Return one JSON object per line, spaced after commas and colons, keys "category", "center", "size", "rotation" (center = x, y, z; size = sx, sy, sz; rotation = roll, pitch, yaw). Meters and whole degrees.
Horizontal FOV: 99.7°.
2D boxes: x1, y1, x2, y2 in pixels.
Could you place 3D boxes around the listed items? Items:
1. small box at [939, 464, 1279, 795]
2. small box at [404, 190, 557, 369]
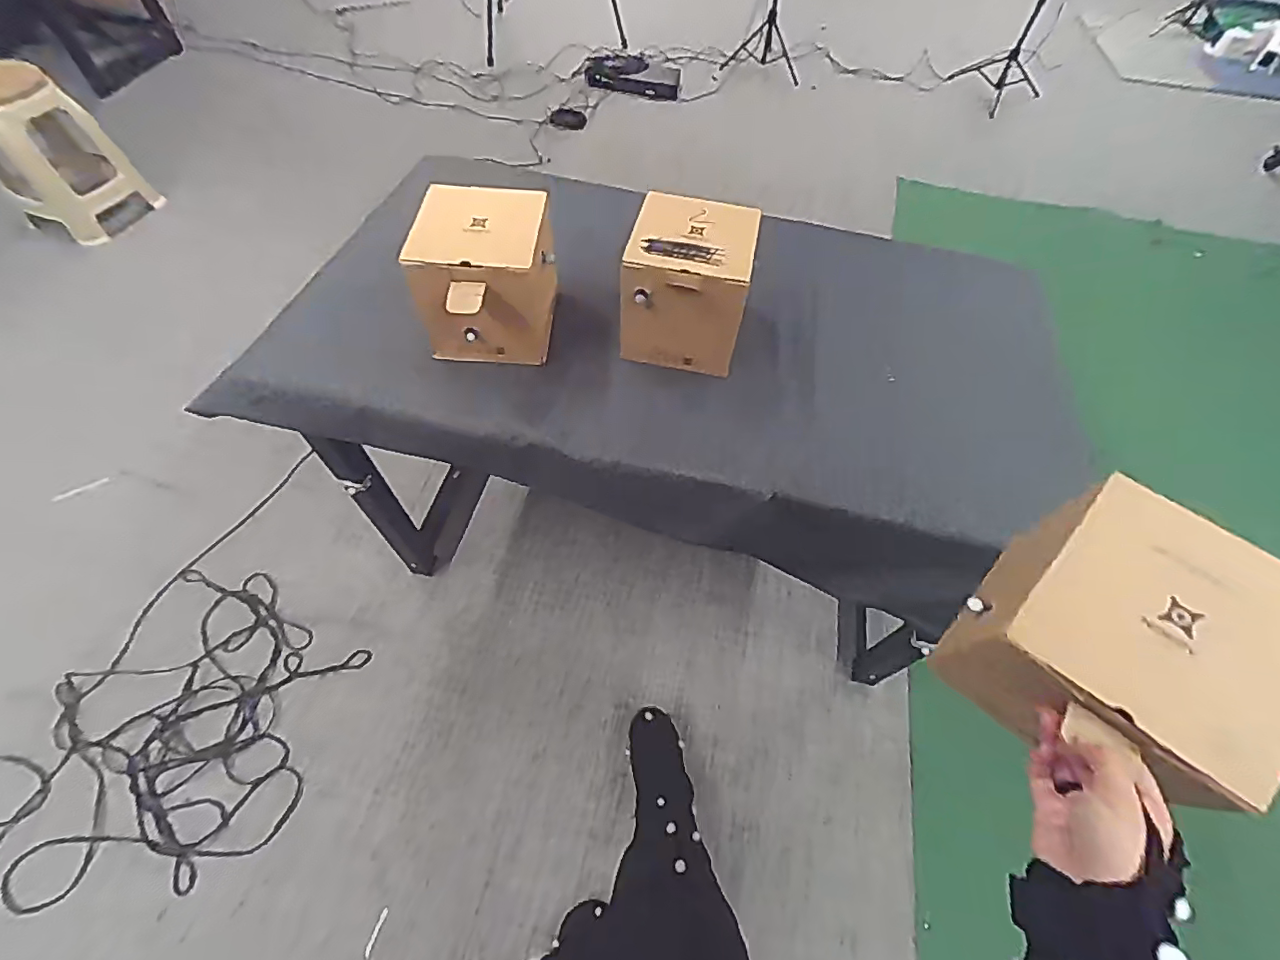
{"category": "small box", "center": [0.387, 0.127, 0.455], "size": [0.168, 0.176, 0.179], "rotation": [38, 73, 21]}
{"category": "small box", "center": [-0.214, -0.286, 0.782], "size": [0.168, 0.176, 0.179], "rotation": [3, 57, -2]}
